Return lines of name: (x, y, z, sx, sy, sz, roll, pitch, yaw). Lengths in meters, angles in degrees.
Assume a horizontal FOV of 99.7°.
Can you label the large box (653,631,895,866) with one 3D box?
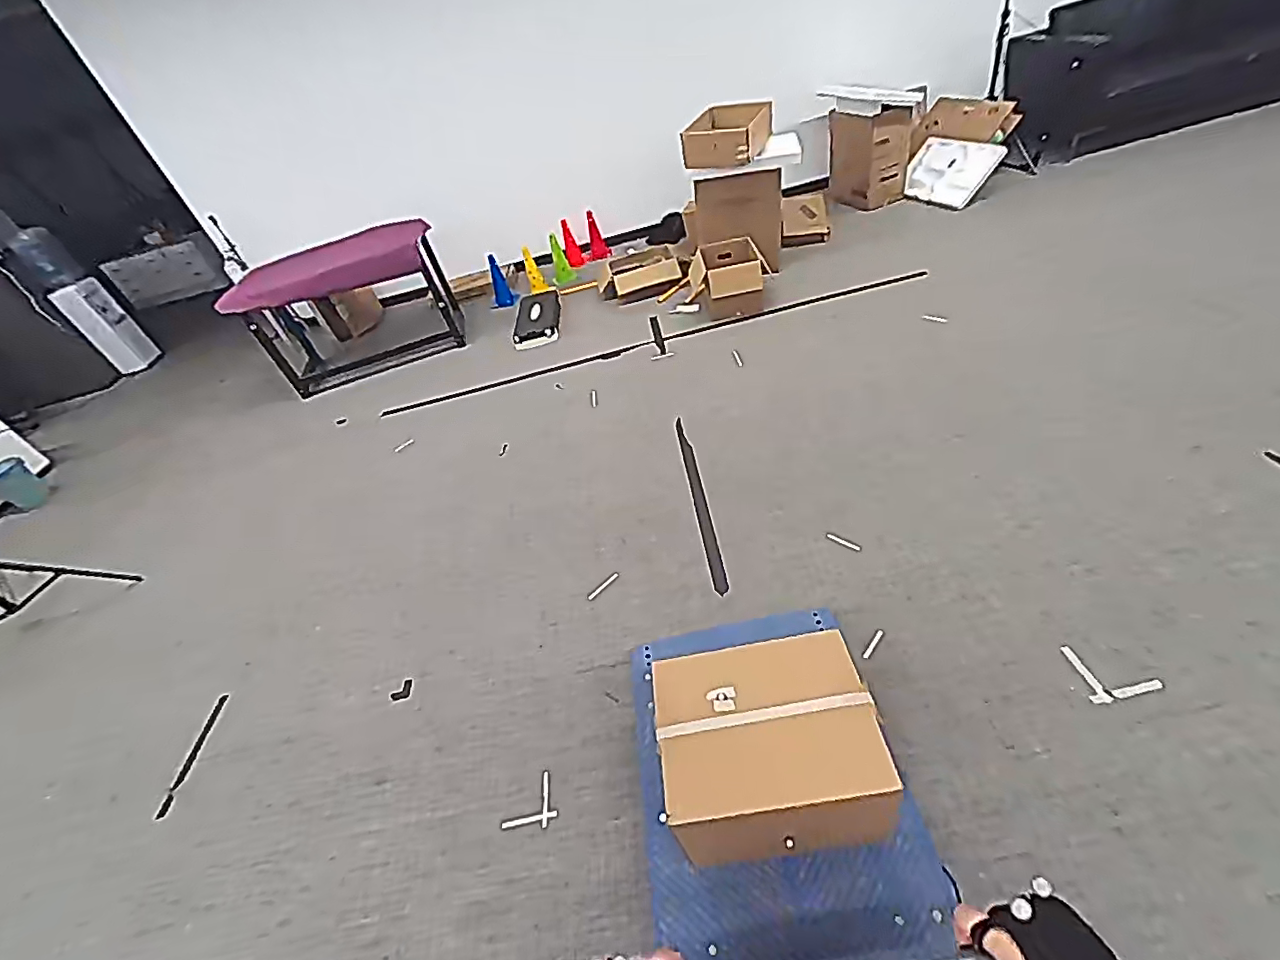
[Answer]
large box: (0.267, 0.570, 1.141, 0.408, 0.320, 0.320, -13, 40, 6)
